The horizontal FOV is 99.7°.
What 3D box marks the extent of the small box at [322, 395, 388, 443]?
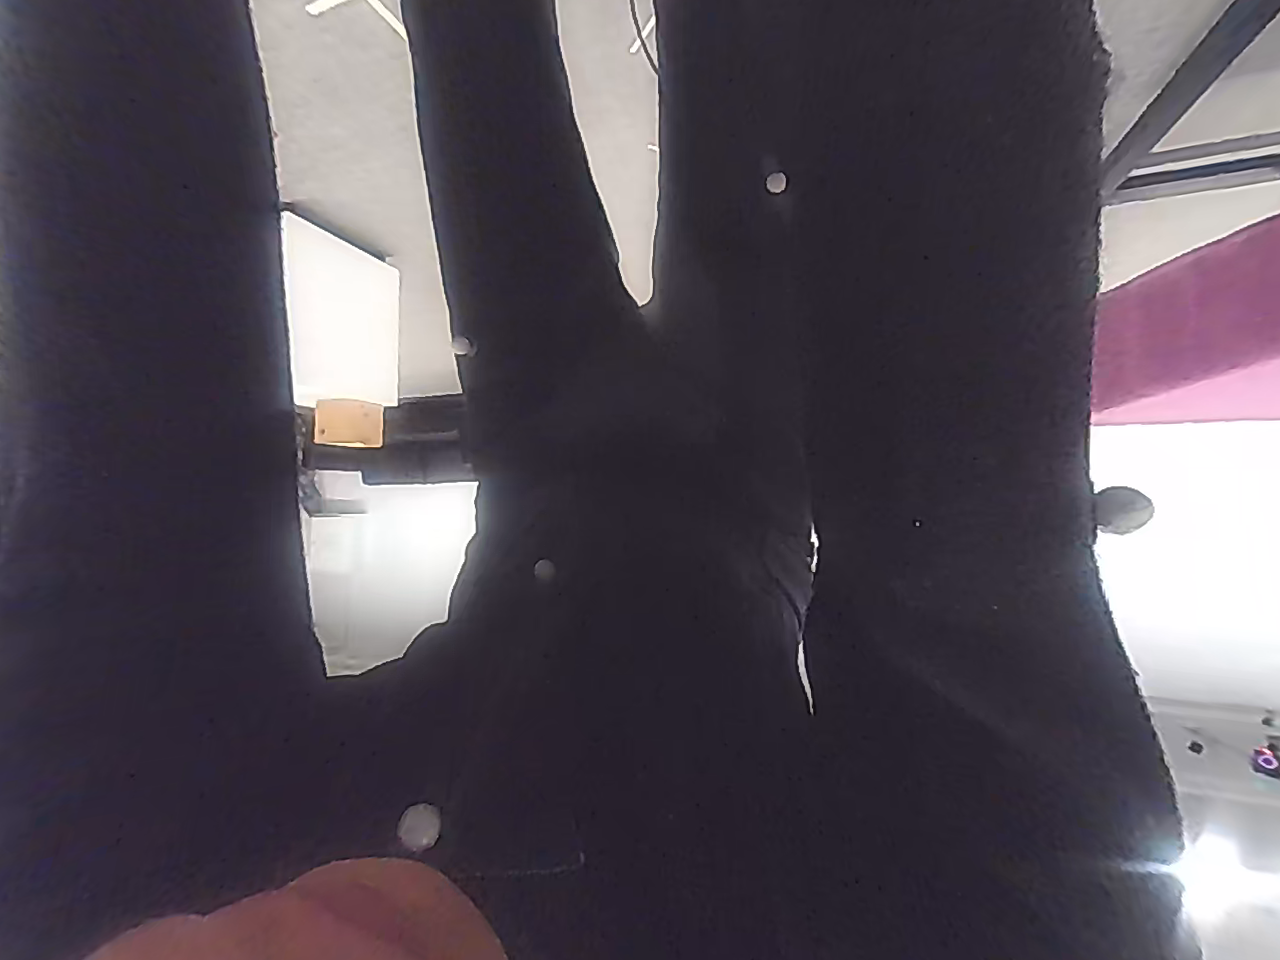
[{"bbox_3d":[-1.129,-0.241,2.154,0.179,0.176,0.168,1,180,19],"label":"small box"}]
